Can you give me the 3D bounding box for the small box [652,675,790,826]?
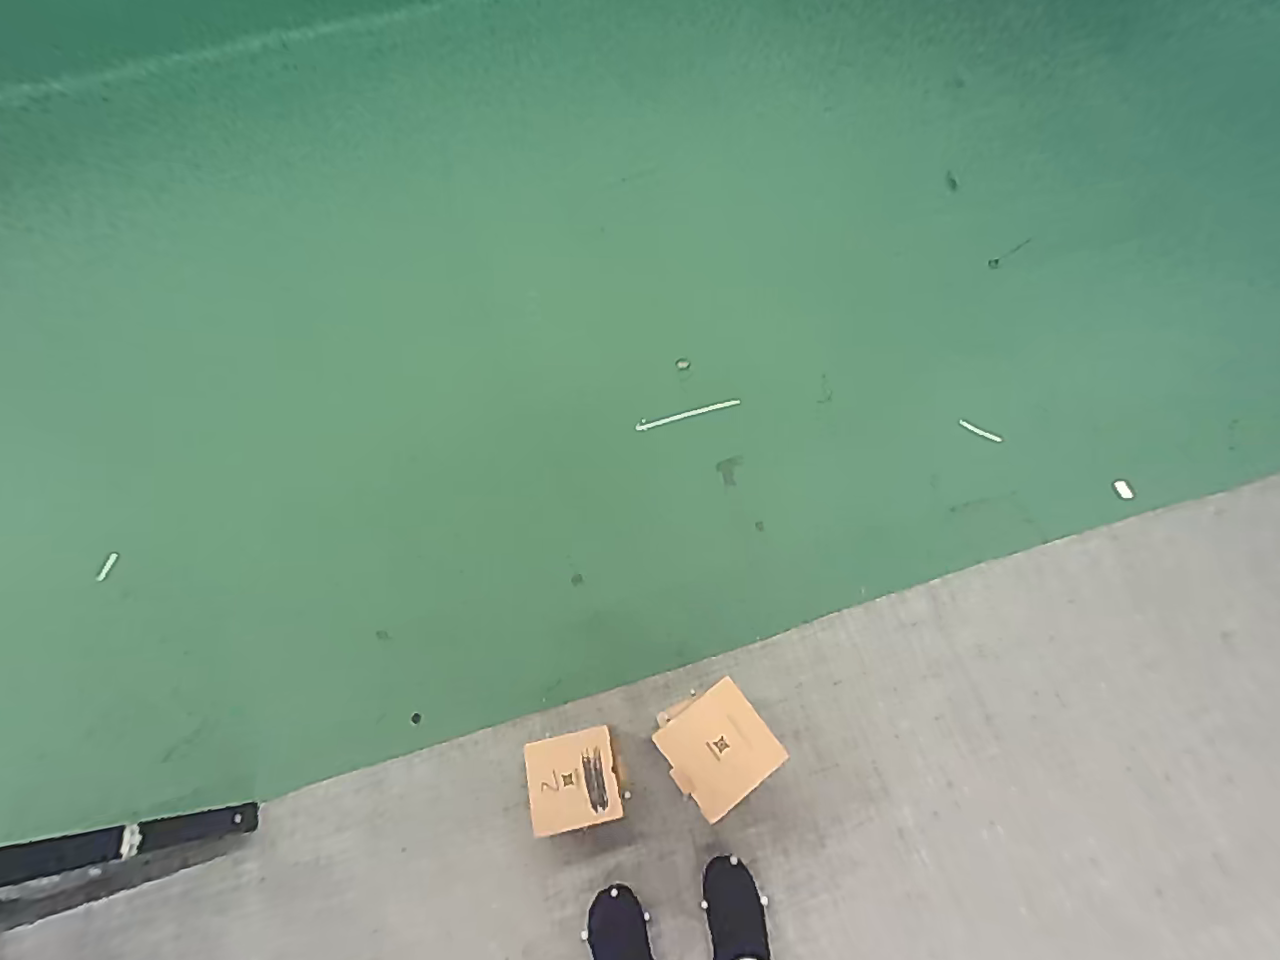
[{"bbox_3d":[0.139,0.481,0.981,0.179,0.176,0.168,-35,71,-14],"label":"small box"}]
